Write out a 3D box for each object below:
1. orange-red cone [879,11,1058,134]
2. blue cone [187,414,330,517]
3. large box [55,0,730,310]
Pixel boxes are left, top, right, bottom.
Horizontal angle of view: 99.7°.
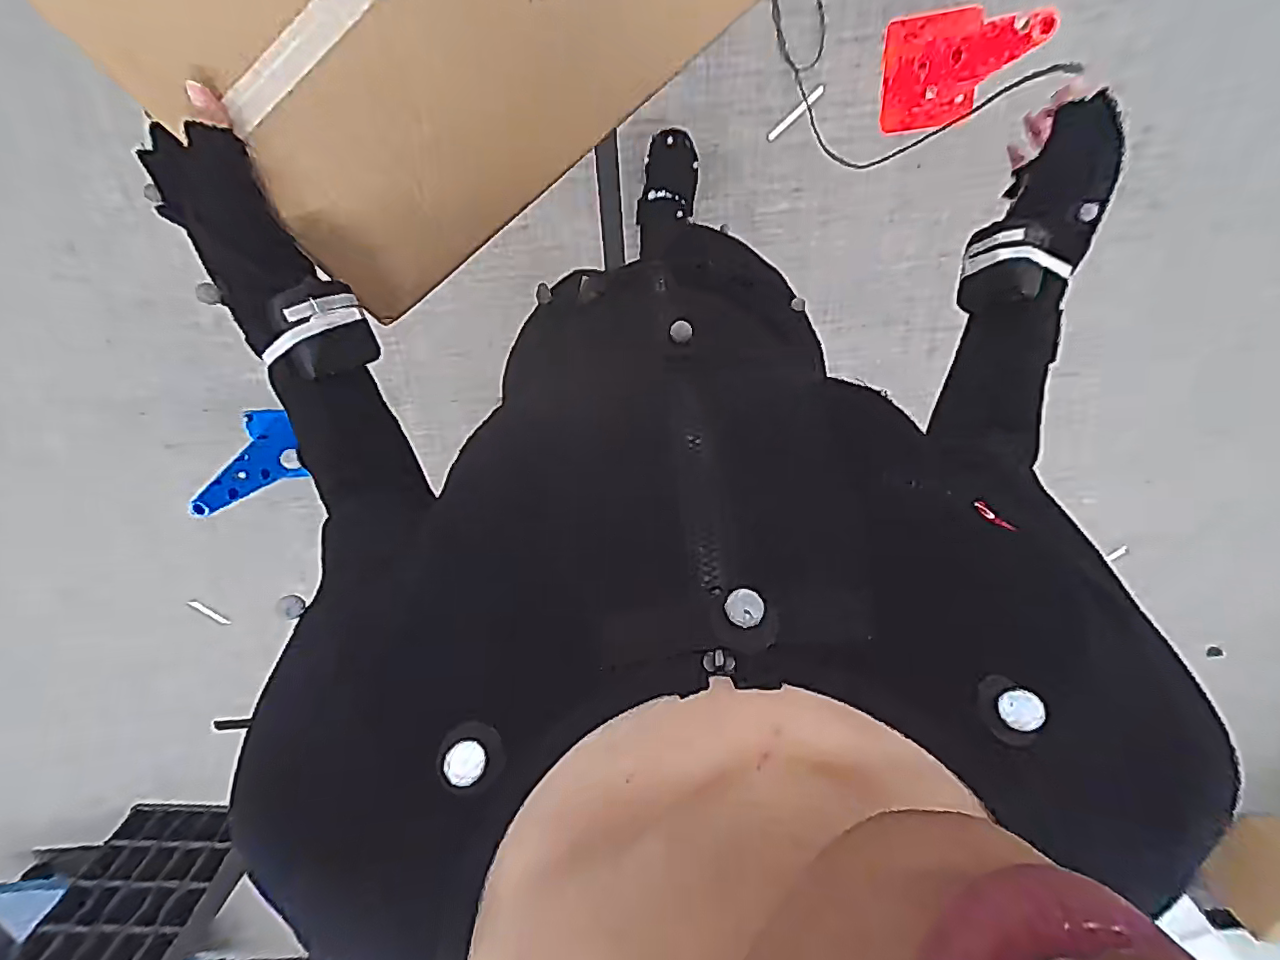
[{"bbox_3d":[0.612,-0.775,0.983,0.198,0.360,0.199,-7,116,1],"label":"orange-red cone"},{"bbox_3d":[-0.967,-0.017,1.349,0.192,0.380,0.193,-1,117,0],"label":"blue cone"},{"bbox_3d":[-0.169,-0.424,0.458,0.408,0.320,0.320,-36,122,12],"label":"large box"}]
